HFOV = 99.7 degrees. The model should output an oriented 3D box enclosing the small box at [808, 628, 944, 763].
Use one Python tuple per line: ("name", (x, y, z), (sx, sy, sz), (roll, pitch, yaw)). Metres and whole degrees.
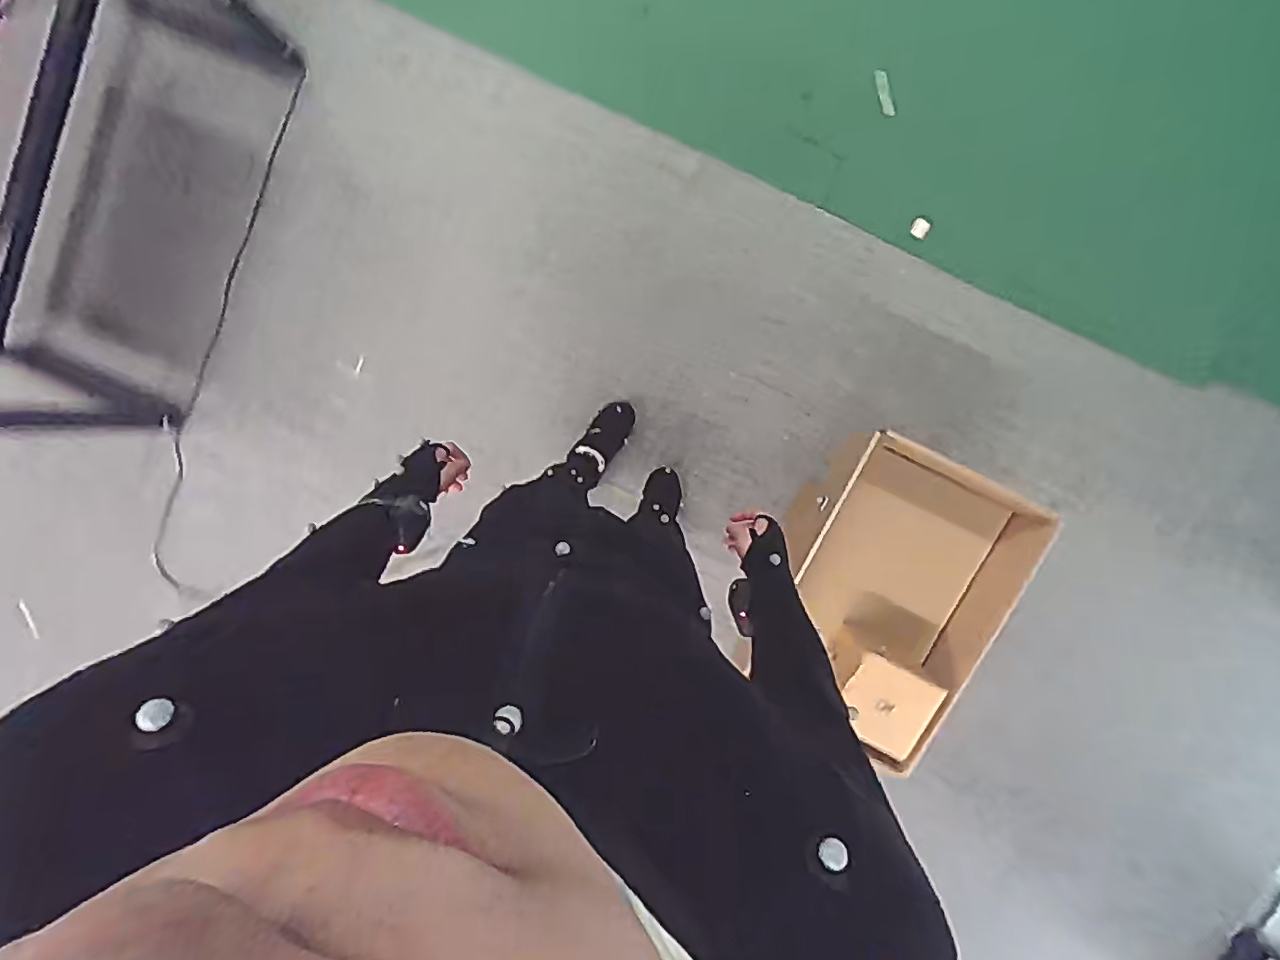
("small box", (0.483, 0.440, 1.135), (0.179, 0.176, 0.168), (28, 98, 1))
